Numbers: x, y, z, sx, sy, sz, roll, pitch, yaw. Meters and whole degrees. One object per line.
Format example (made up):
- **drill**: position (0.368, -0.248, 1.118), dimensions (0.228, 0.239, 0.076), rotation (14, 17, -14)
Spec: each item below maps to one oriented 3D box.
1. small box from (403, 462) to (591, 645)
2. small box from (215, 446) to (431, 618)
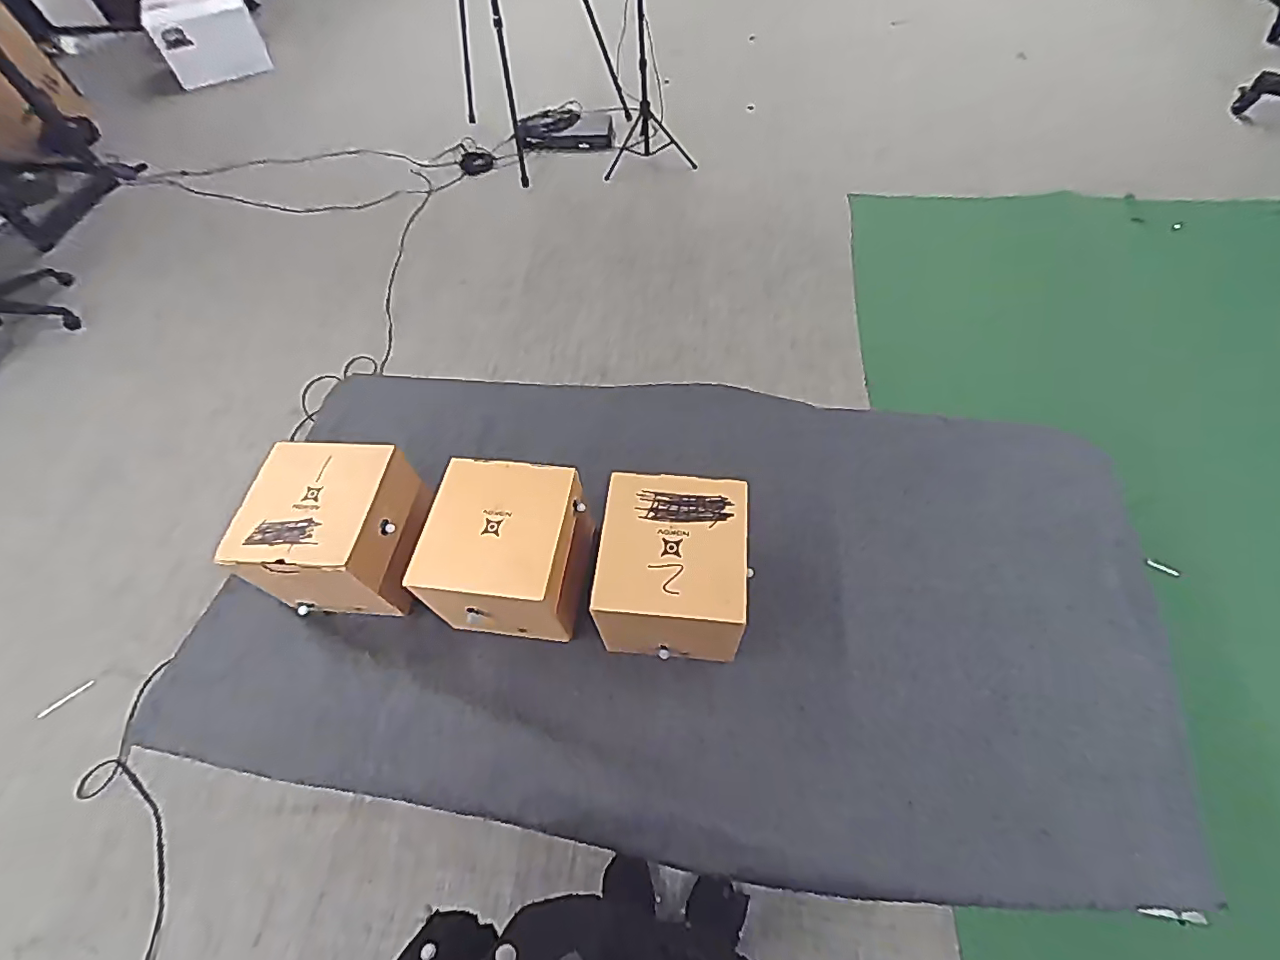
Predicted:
- **small box**: position (-0.165, 0.100, 0.695), dimensions (0.168, 0.176, 0.179), rotation (5, 57, 7)
- **small box**: position (-0.398, 0.074, 0.725), dimensions (0.168, 0.176, 0.179), rotation (2, 56, 5)
